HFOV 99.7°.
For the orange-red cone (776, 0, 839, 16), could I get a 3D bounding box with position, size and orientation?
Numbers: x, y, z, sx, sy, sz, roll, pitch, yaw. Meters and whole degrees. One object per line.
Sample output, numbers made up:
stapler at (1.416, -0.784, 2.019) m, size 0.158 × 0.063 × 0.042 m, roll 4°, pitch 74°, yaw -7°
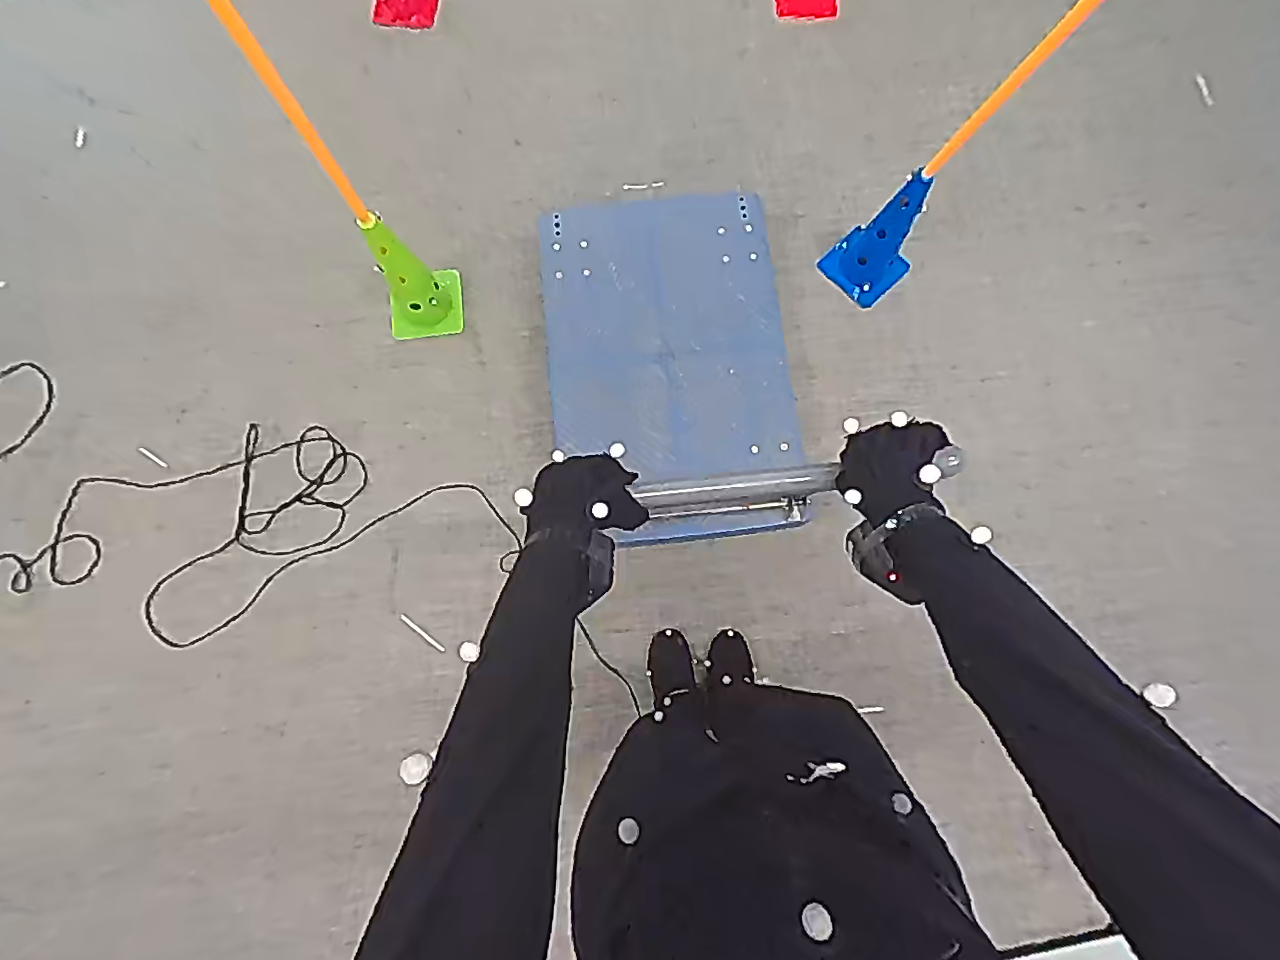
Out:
orange-red cone at (0.534, -1.602, 1.565) m, size 0.198 × 0.360 × 0.199 m, roll 4°, pitch 79°, yaw 2°
